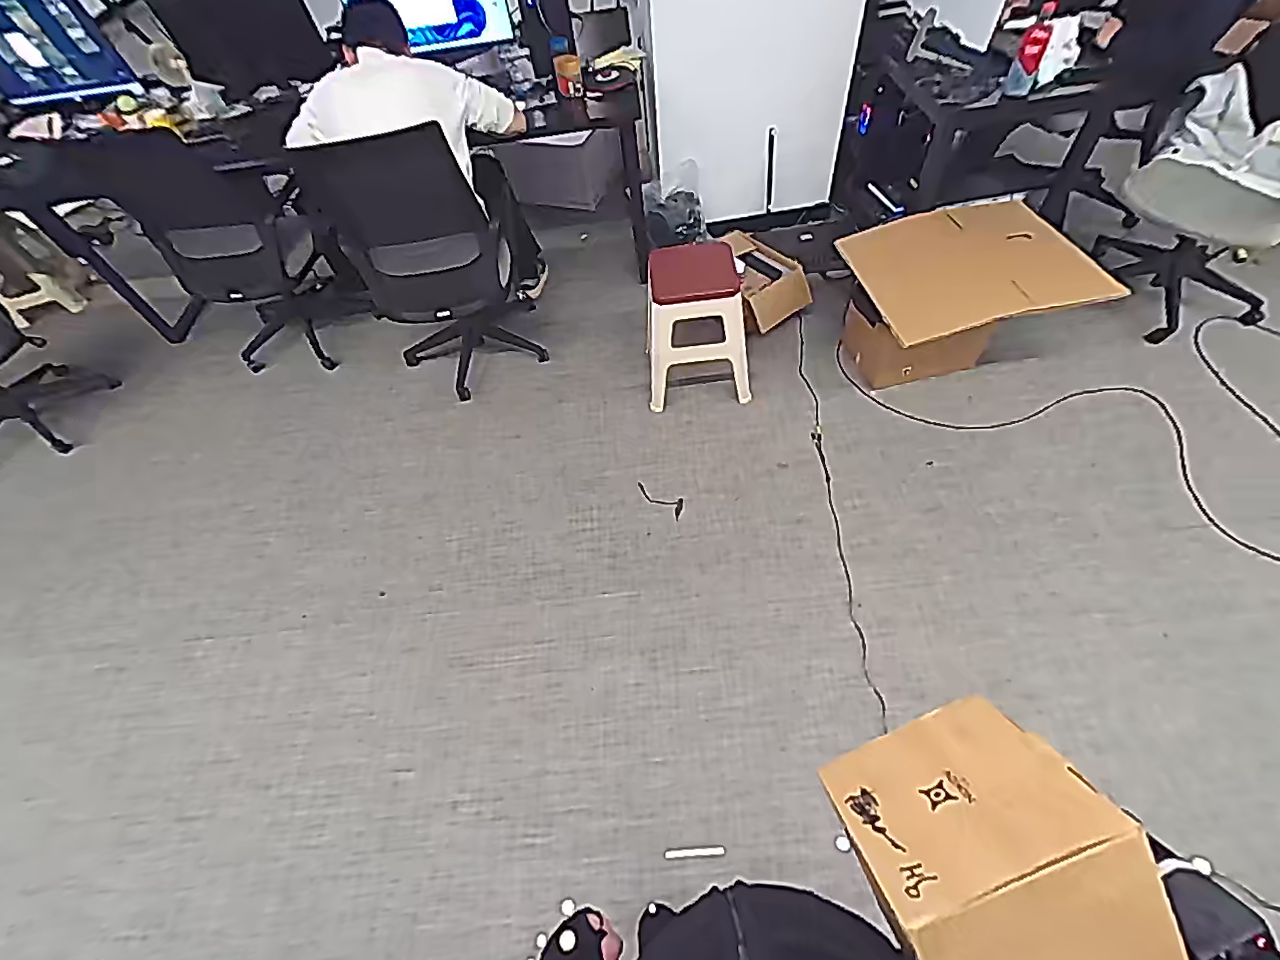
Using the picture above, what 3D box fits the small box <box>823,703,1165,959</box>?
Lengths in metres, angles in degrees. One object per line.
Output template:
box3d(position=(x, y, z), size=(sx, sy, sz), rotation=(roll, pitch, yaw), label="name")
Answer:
box3d(position=(0.295, 0.339, 0.469), size=(0.179, 0.168, 0.176), rotation=(-25, 98, 1), label="small box")
